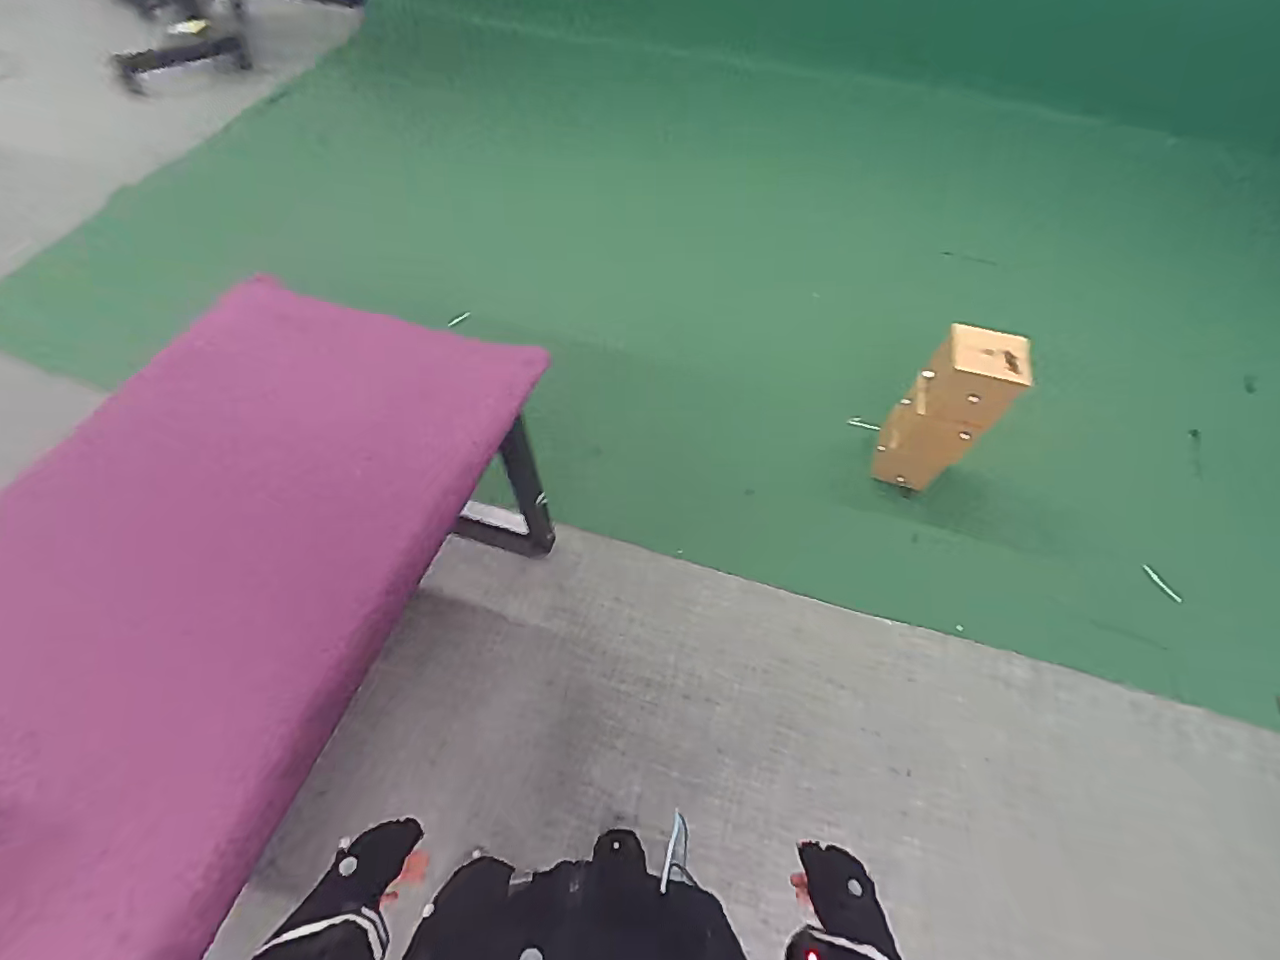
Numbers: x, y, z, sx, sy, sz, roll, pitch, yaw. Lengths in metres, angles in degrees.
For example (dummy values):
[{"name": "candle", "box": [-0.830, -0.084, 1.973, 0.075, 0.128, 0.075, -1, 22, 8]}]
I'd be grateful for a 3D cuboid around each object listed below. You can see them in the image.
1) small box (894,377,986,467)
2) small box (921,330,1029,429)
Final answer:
[{"name": "small box", "box": [0.839, -0.160, 1.524, 0.179, 0.176, 0.168, 16, 60, 7]}, {"name": "small box", "box": [0.852, -0.252, 1.388, 0.179, 0.176, 0.168, 14, 59, 7]}]
